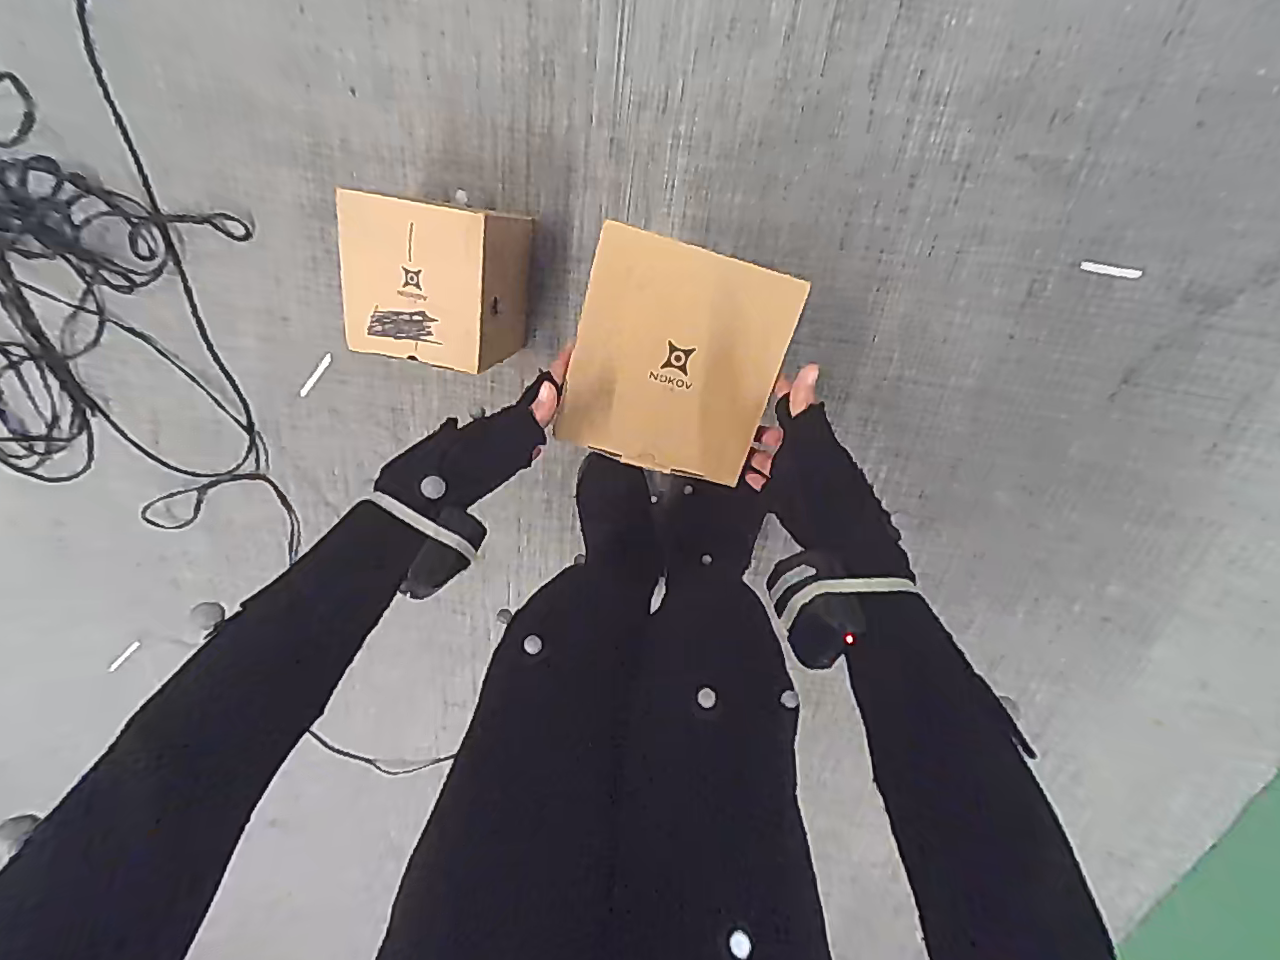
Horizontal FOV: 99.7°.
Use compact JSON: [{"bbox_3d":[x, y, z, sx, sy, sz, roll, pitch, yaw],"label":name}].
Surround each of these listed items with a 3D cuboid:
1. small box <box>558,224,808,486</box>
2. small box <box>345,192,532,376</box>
[{"bbox_3d":[0.027,-0.120,0.509,0.168,0.176,0.179,14,111,-8],"label":"small box"},{"bbox_3d":[-0.244,-0.250,0.689,0.168,0.176,0.179,12,115,2],"label":"small box"}]
